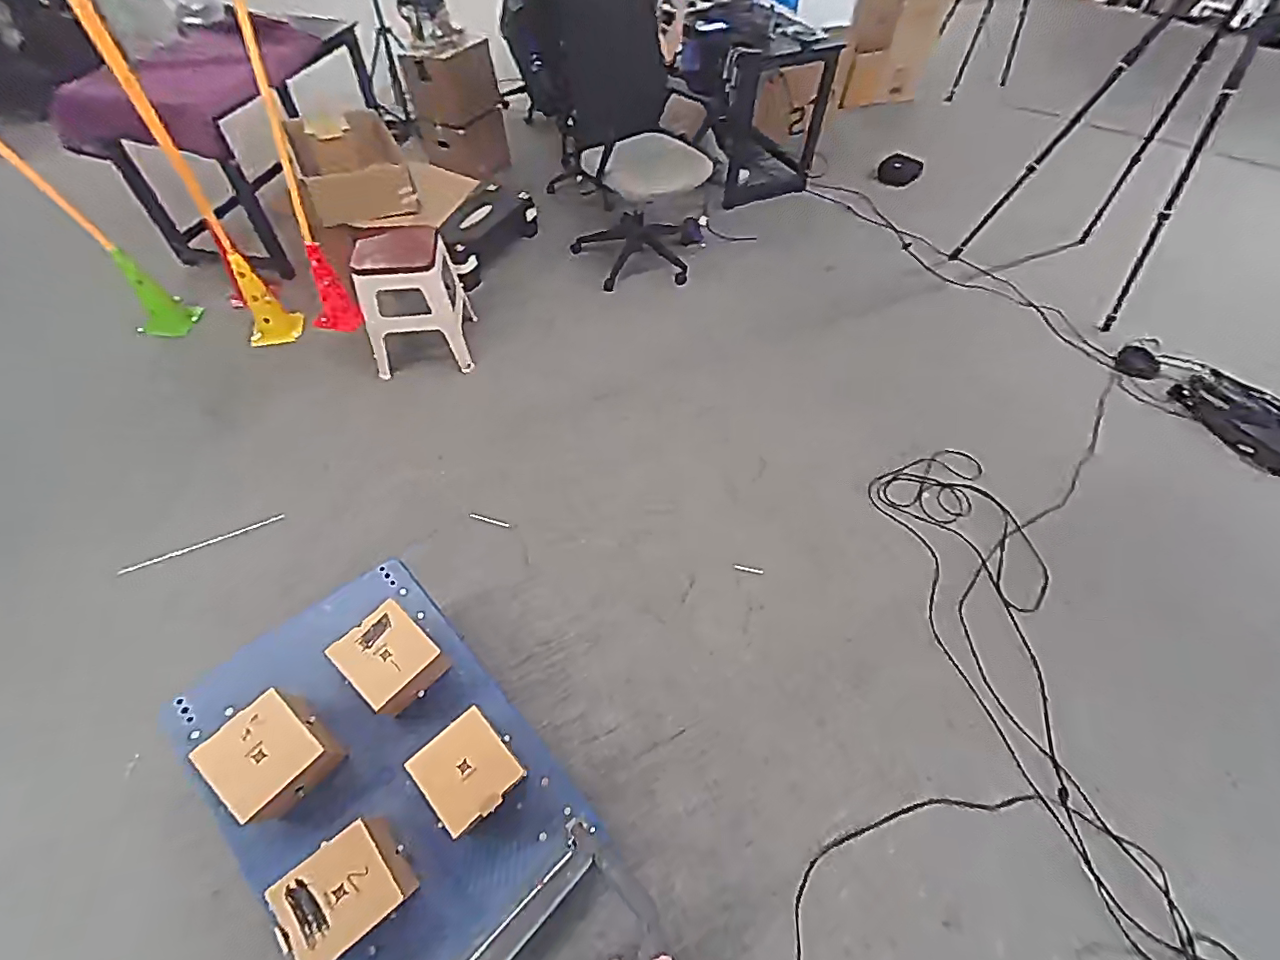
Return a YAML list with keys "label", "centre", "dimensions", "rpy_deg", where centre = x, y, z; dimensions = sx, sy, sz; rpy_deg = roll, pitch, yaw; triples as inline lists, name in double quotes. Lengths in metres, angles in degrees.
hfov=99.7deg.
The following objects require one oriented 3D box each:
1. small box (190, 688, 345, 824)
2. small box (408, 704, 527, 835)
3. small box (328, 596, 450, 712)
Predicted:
- label: "small box"
  centre: [-0.738, 0.552, 1.094]
  dimensions: [0.179, 0.176, 0.168]
  rpy_deg: [41, 61, 12]
- label: "small box"
  centre: [-0.358, 0.608, 1.143]
  dimensions: [0.168, 0.176, 0.179]
  rpy_deg: [-37, 75, -26]
- label: "small box"
  centre: [-0.554, 0.398, 1.216]
  dimensions: [0.179, 0.176, 0.168]
  rpy_deg: [42, 63, 11]
